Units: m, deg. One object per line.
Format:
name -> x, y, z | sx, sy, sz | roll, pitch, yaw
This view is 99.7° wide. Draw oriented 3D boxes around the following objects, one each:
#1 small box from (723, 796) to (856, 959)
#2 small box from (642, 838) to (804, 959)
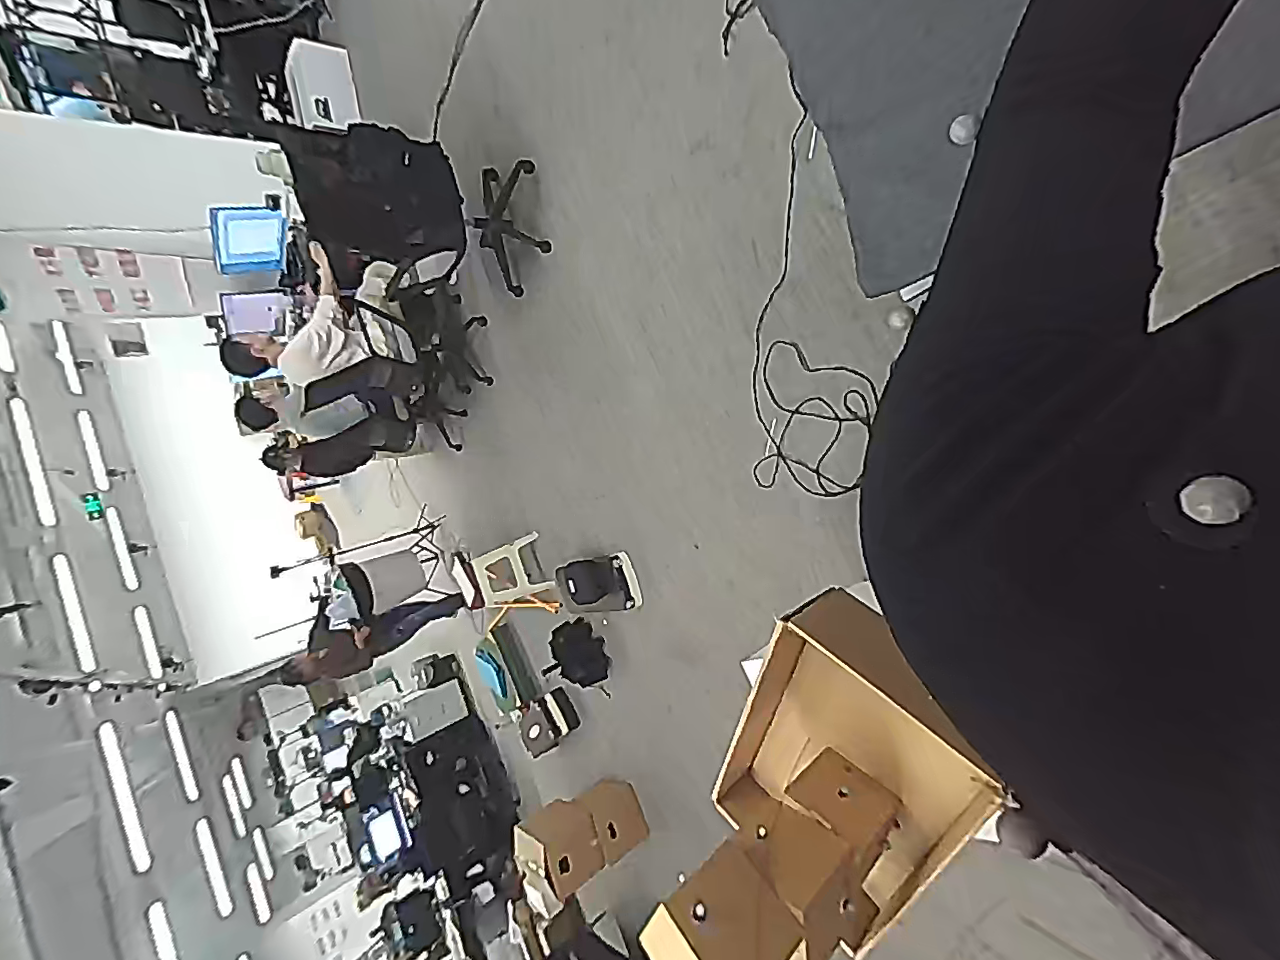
small box -> 0.274, 0.726, 0.995 | 0.179, 0.176, 0.168 | 6, 108, 47
small box -> 0.135, 0.744, 0.903 | 0.179, 0.176, 0.168 | 41, 132, 33
